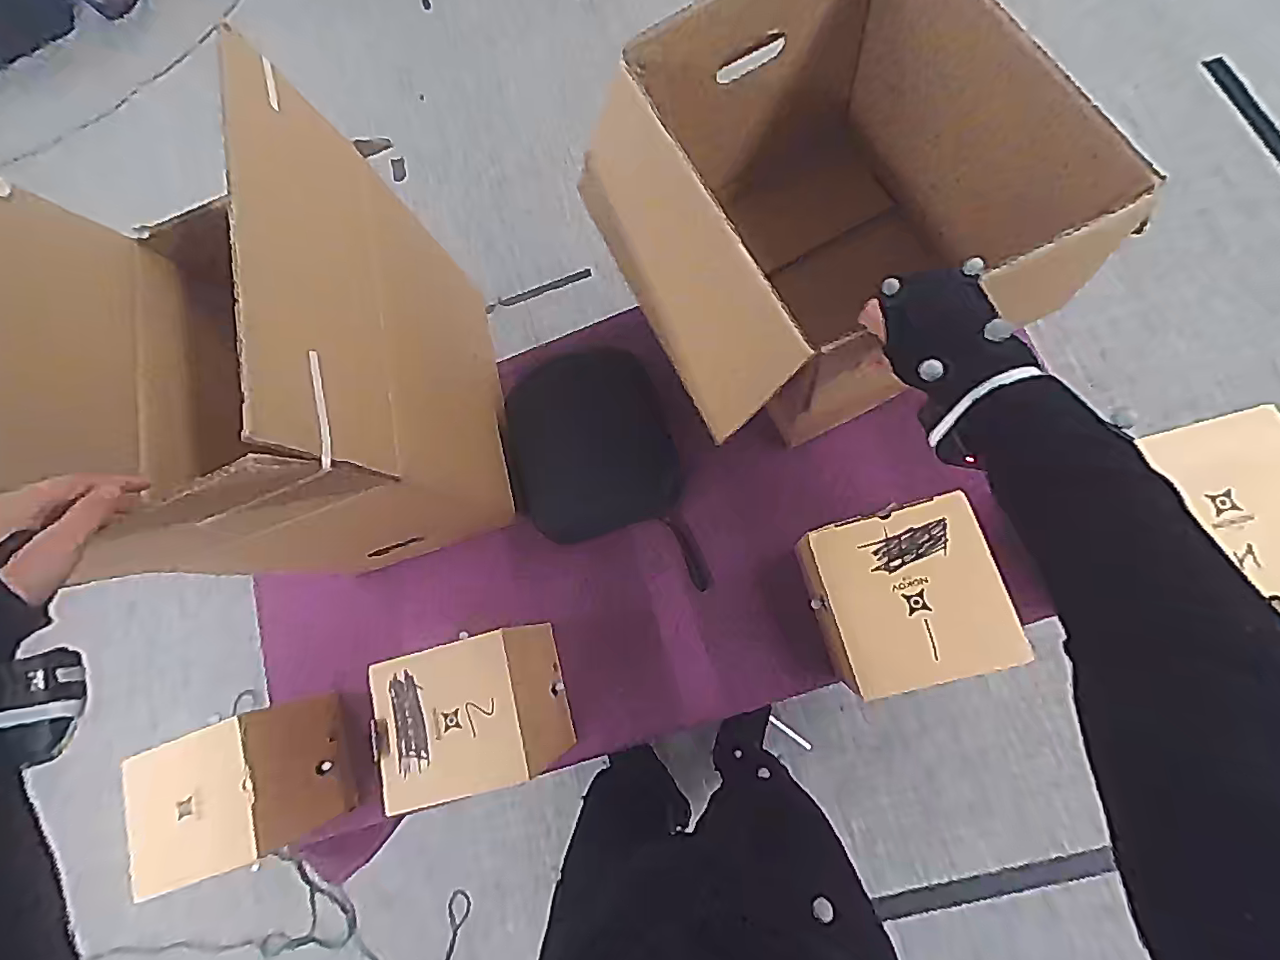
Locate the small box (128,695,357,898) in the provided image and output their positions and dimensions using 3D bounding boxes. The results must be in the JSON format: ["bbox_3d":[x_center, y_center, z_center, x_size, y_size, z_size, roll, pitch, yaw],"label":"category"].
[{"bbox_3d":[-0.523,0.408,0.727,0.179,0.176,0.168,-22,74,5],"label":"small box"}]

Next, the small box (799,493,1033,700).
[{"bbox_3d":[0.290,0.132,0.618,0.168,0.176,0.179,-17,76,8],"label":"small box"}]
